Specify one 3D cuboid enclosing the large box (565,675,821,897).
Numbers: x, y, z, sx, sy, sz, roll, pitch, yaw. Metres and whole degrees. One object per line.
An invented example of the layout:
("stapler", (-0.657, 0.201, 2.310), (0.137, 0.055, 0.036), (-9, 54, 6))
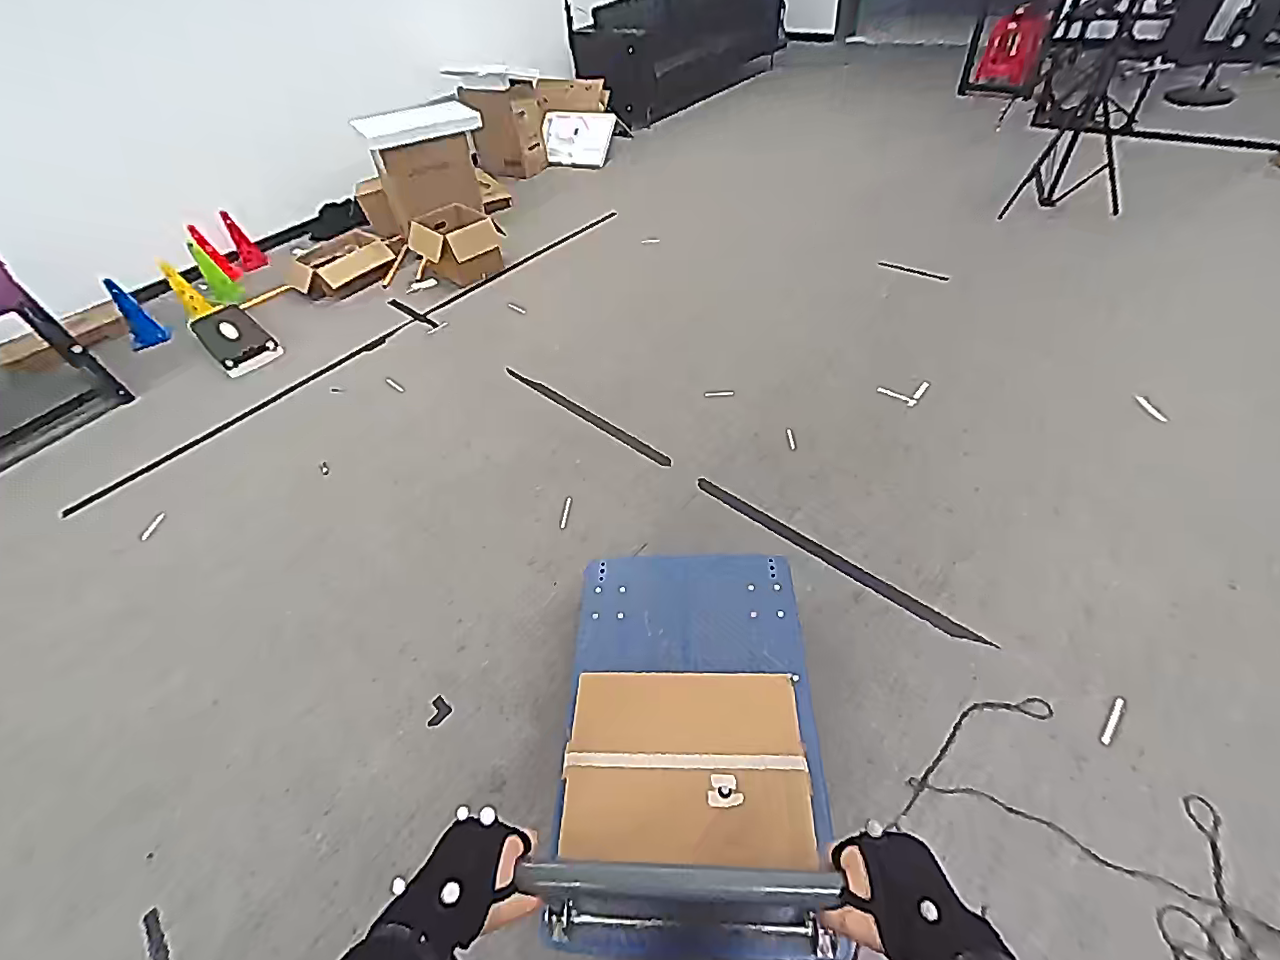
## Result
("large box", (0.093, 0.589, 1.038), (0.408, 0.320, 0.320), (-2, 48, 5))
